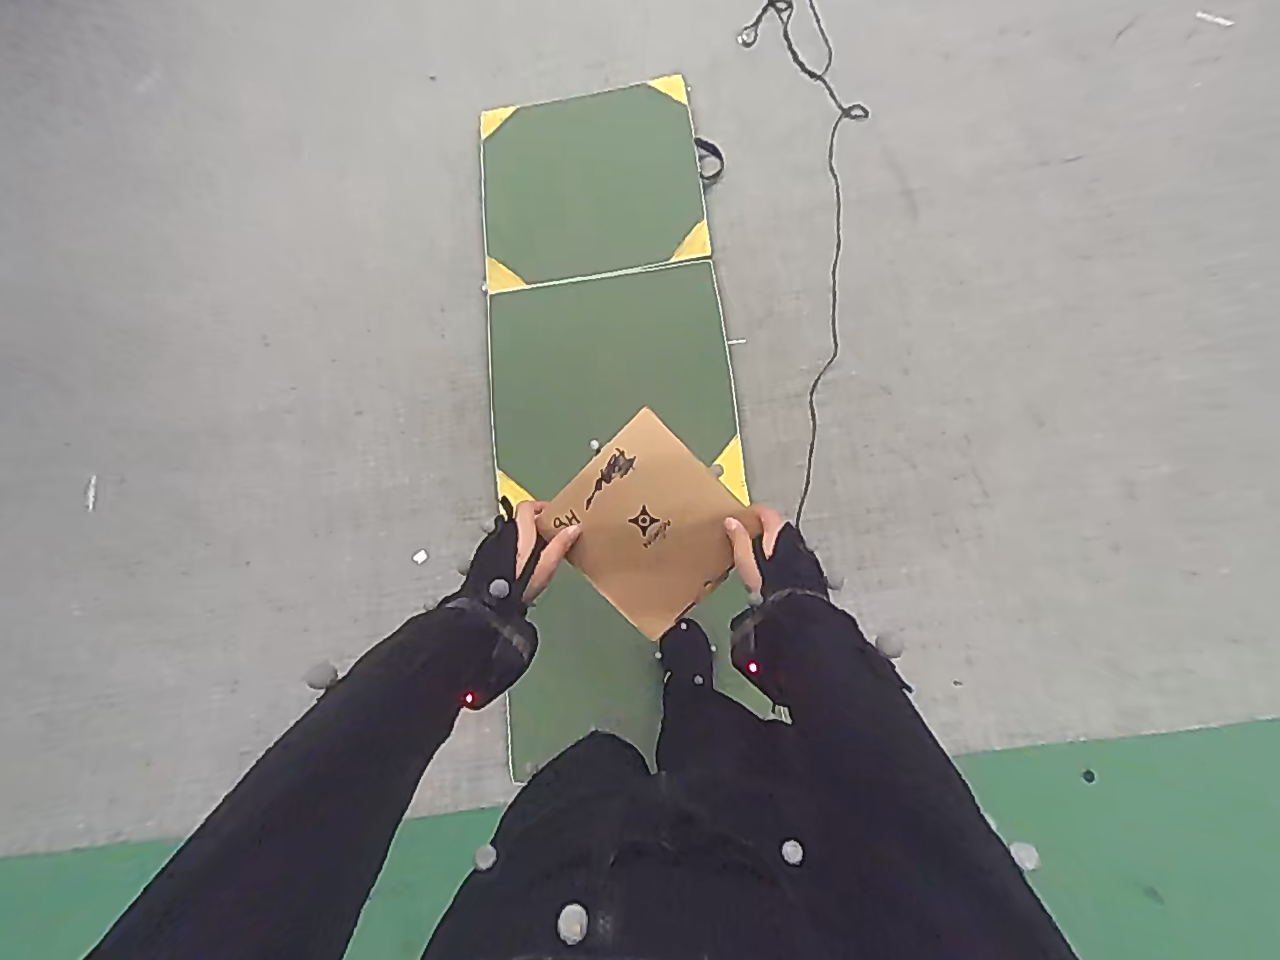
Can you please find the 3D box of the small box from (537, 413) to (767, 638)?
[{"bbox_3d":[0.014,0.040,0.620,0.179,0.176,0.168,45,94,-2],"label":"small box"}]
